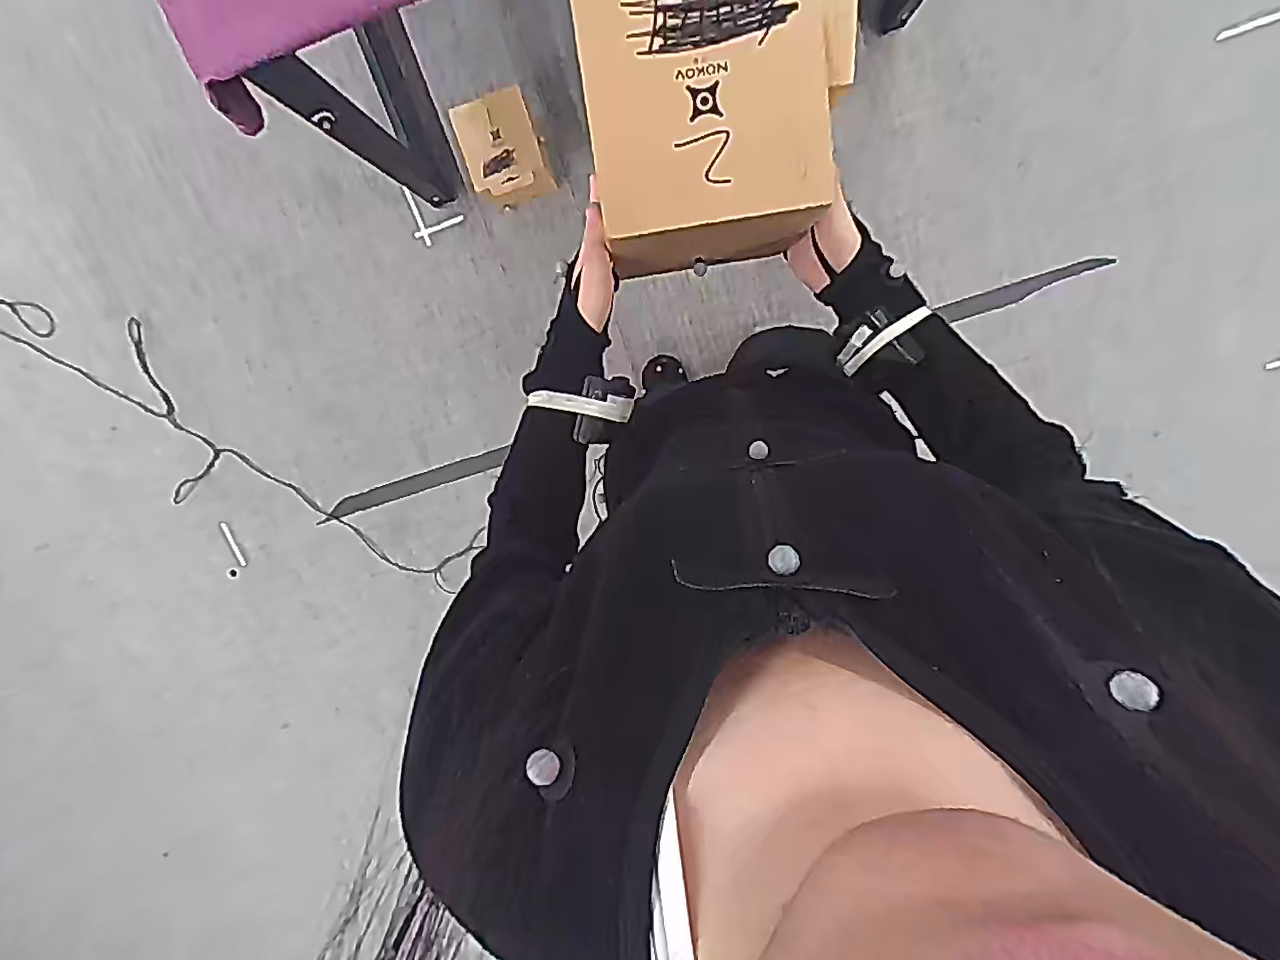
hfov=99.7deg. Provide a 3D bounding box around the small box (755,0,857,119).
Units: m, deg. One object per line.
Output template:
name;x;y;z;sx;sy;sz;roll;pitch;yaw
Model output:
small box;0.360;-0.927;1.200;0.179;0.176;0.168;-1;104;3

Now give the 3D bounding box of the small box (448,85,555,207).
small box;-0.308;-0.755;1.250;0.168;0.176;0.179;-17;101;5

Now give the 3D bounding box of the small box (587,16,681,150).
small box;-0.009;-0.876;1.218;0.168;0.176;0.179;-16;101;4
